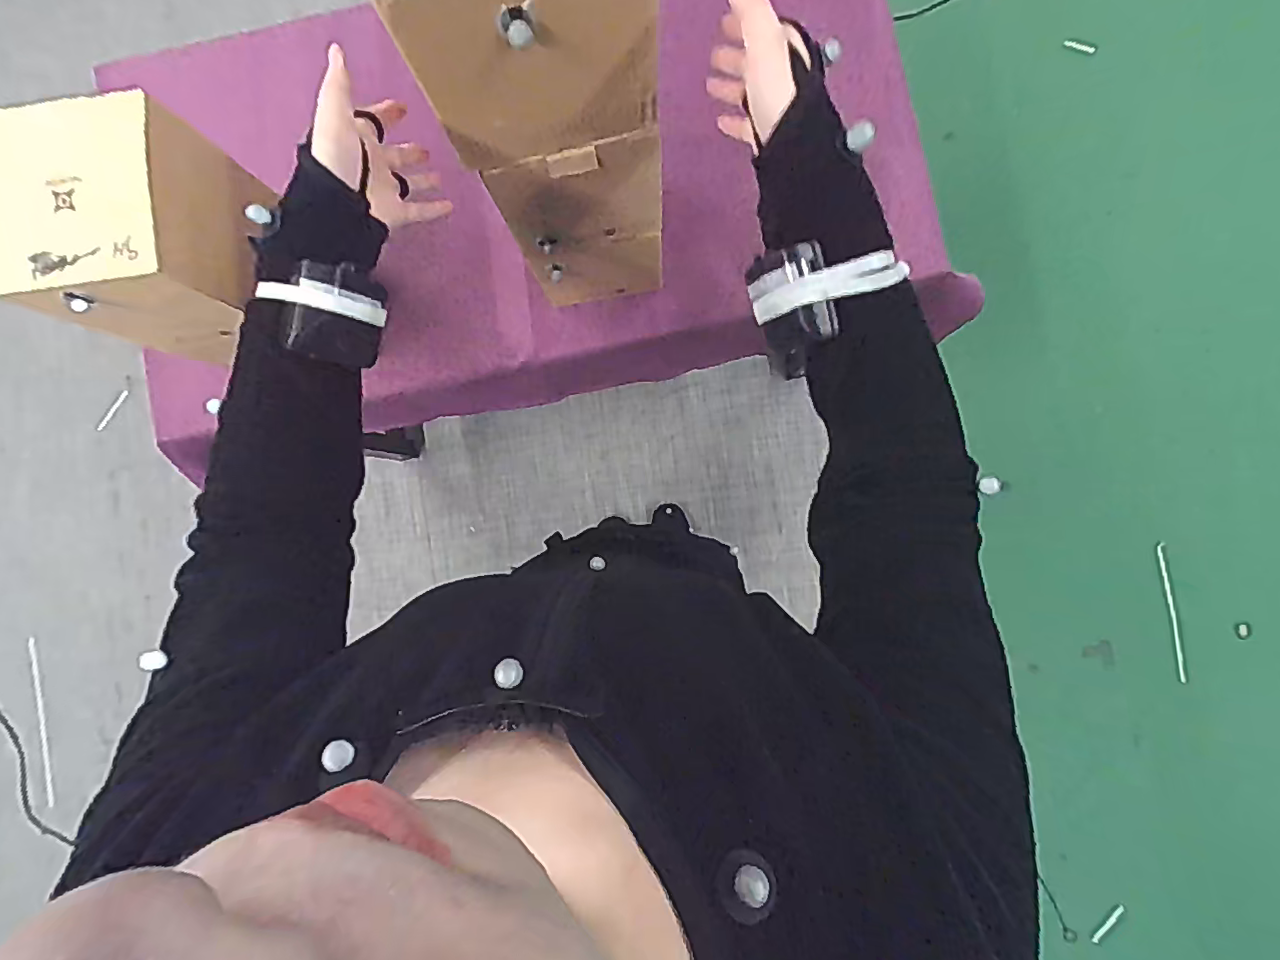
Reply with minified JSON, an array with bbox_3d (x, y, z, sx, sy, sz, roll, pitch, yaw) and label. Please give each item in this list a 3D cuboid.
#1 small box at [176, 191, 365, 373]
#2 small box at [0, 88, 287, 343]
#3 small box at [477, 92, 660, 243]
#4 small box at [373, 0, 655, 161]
[{"bbox_3d":[-0.504,-0.258,0.740,0.168,0.176,0.179,-6,89,3],"label":"small box"},{"bbox_3d":[-0.513,-0.263,0.575,0.168,0.176,0.179,-6,87,4],"label":"small box"},{"bbox_3d":[-0.075,-0.370,0.559,0.168,0.176,0.179,-12,86,2],"label":"small box"},{"bbox_3d":[-0.087,-0.377,0.396,0.179,0.176,0.168,-13,87,3],"label":"small box"}]
